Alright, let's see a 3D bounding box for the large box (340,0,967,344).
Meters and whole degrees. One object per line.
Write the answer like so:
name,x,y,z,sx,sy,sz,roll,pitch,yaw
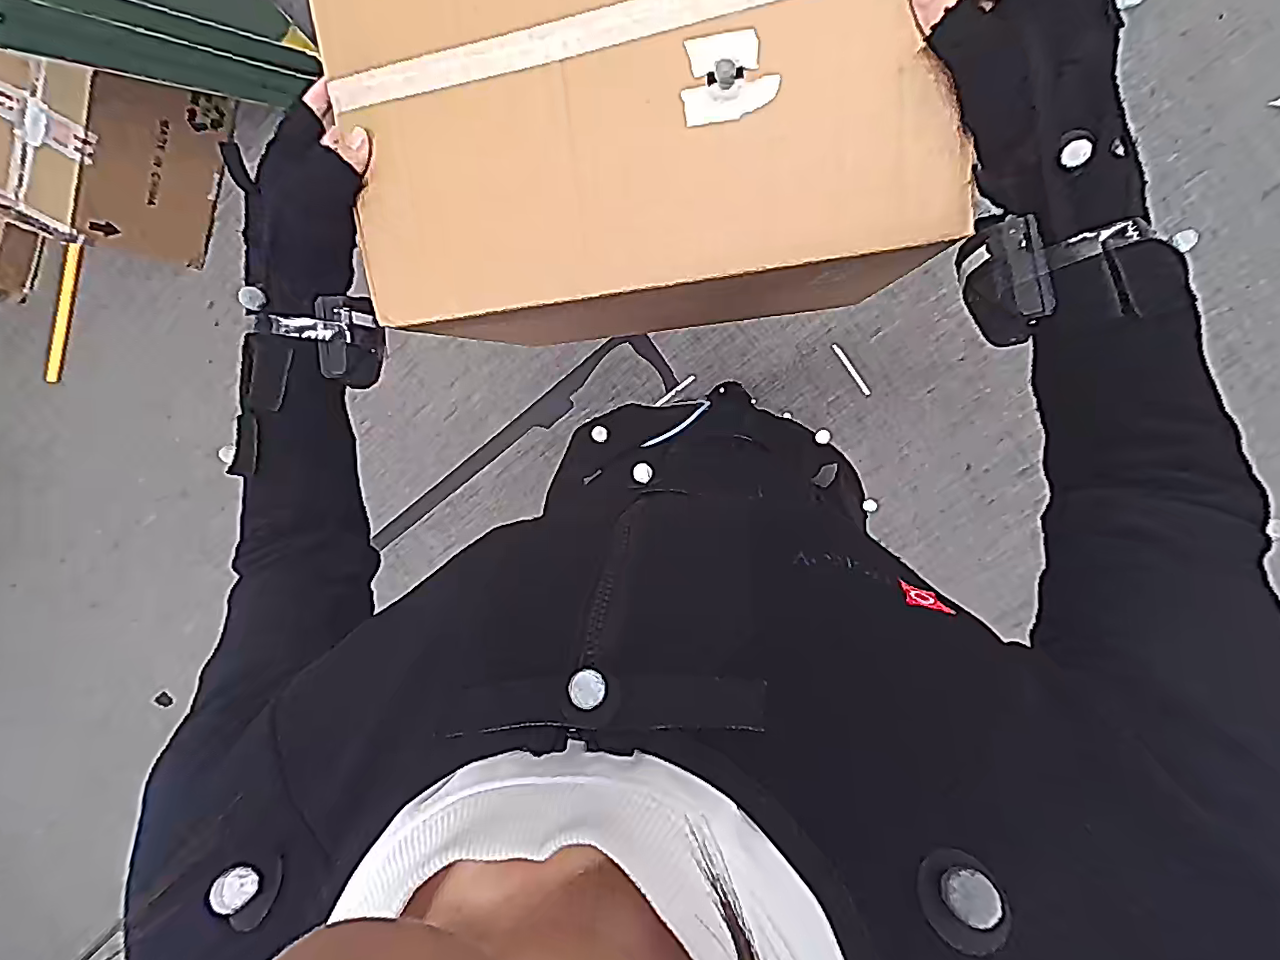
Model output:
large box,0.015,-0.317,0.495,0.408,0.320,0.320,-5,100,11
